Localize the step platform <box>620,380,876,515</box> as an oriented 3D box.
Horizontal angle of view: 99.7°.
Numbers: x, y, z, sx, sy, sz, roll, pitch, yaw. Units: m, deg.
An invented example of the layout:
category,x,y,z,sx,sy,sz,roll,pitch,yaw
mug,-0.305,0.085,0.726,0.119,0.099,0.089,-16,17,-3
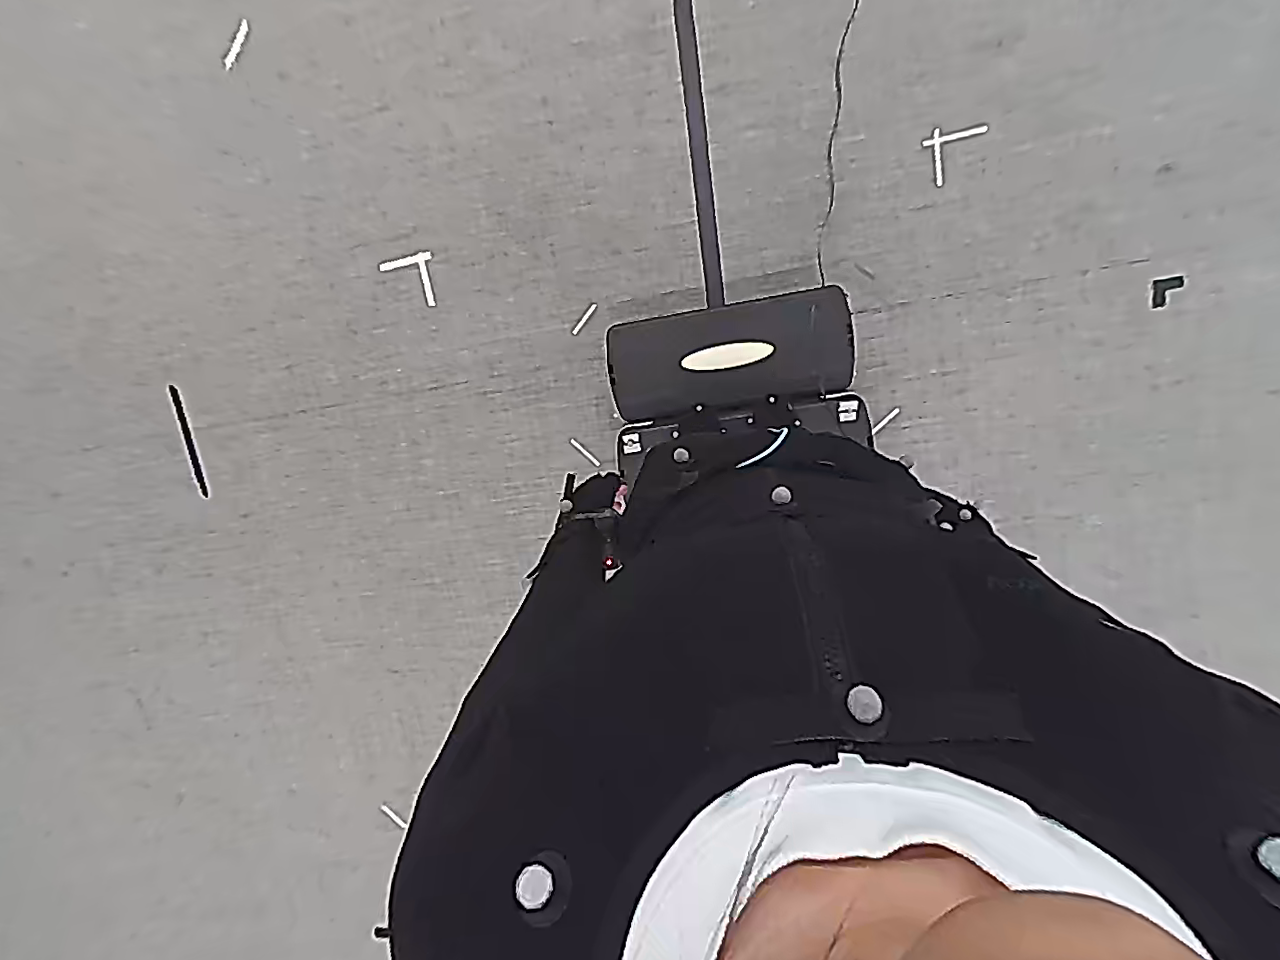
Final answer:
category,x,y,z,sx,sy,sz,roll,pitch,yaw
step platform,0.288,-0.086,1.511,0.684,0.204,0.286,-8,98,11
